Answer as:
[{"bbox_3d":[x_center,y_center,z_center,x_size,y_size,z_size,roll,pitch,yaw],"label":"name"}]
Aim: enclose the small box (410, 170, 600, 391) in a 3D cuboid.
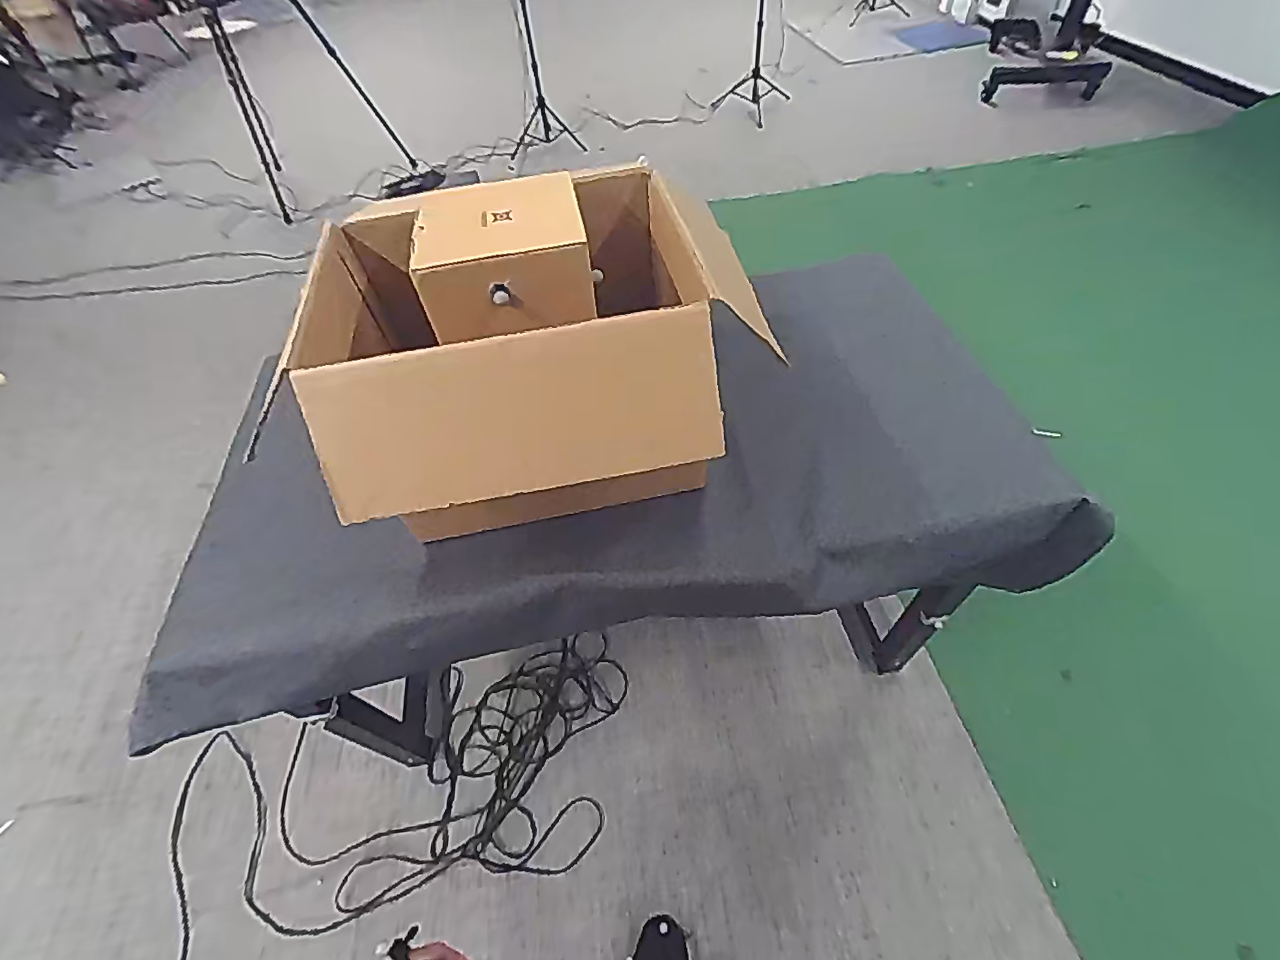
[{"bbox_3d":[-0.144,-0.228,0.631,0.179,0.176,0.168,-11,52,-3],"label":"small box"}]
